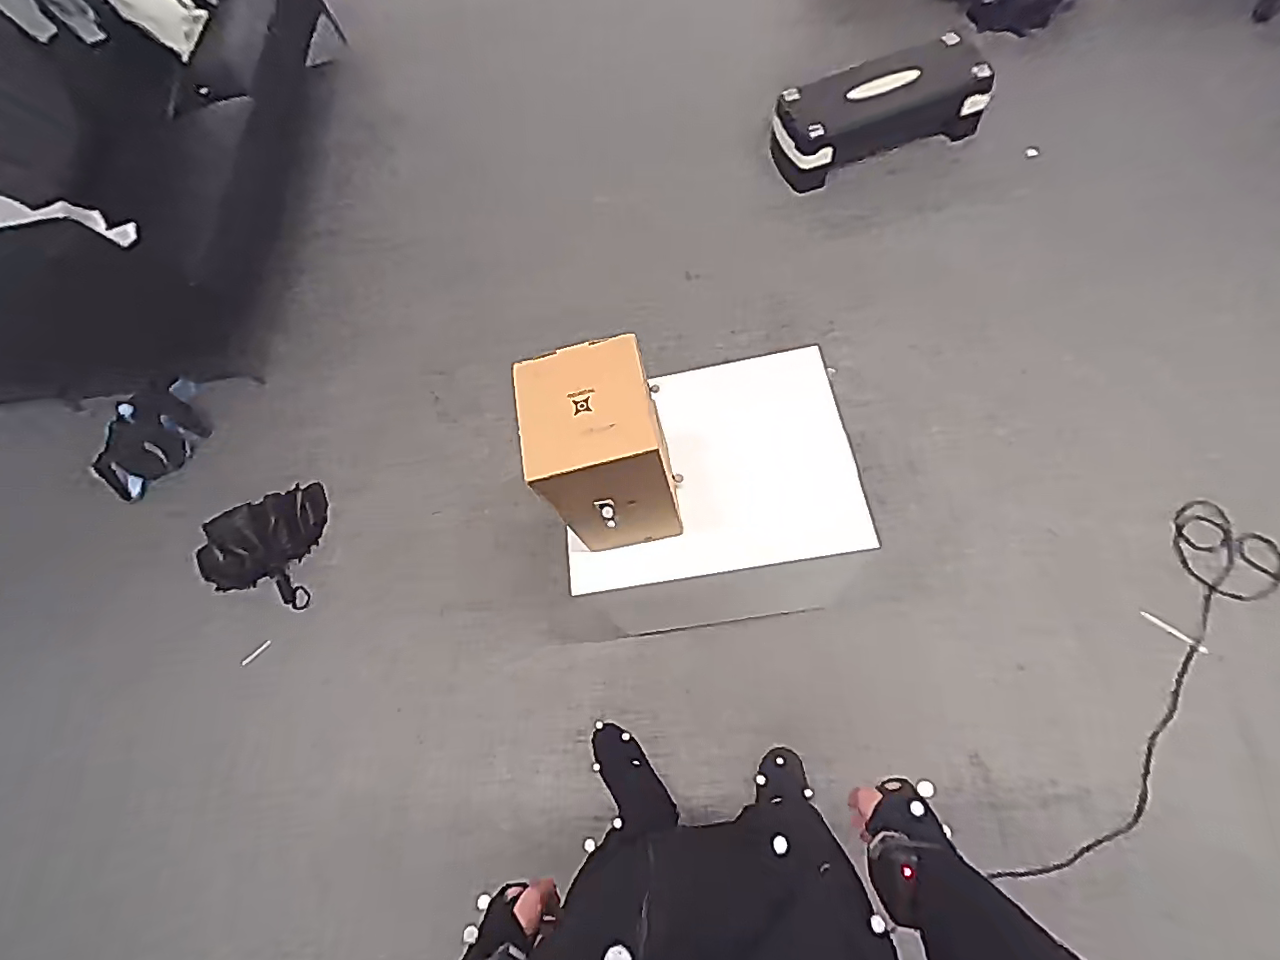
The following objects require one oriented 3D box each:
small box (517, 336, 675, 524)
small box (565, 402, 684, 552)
[{"bbox_3d":[-0.055,-0.059,0.738,0.168,0.176,0.179,-15,66,6],"label":"small box"},{"bbox_3d":[-0.027,0.002,0.886,0.168,0.176,0.179,-12,65,6],"label":"small box"}]
